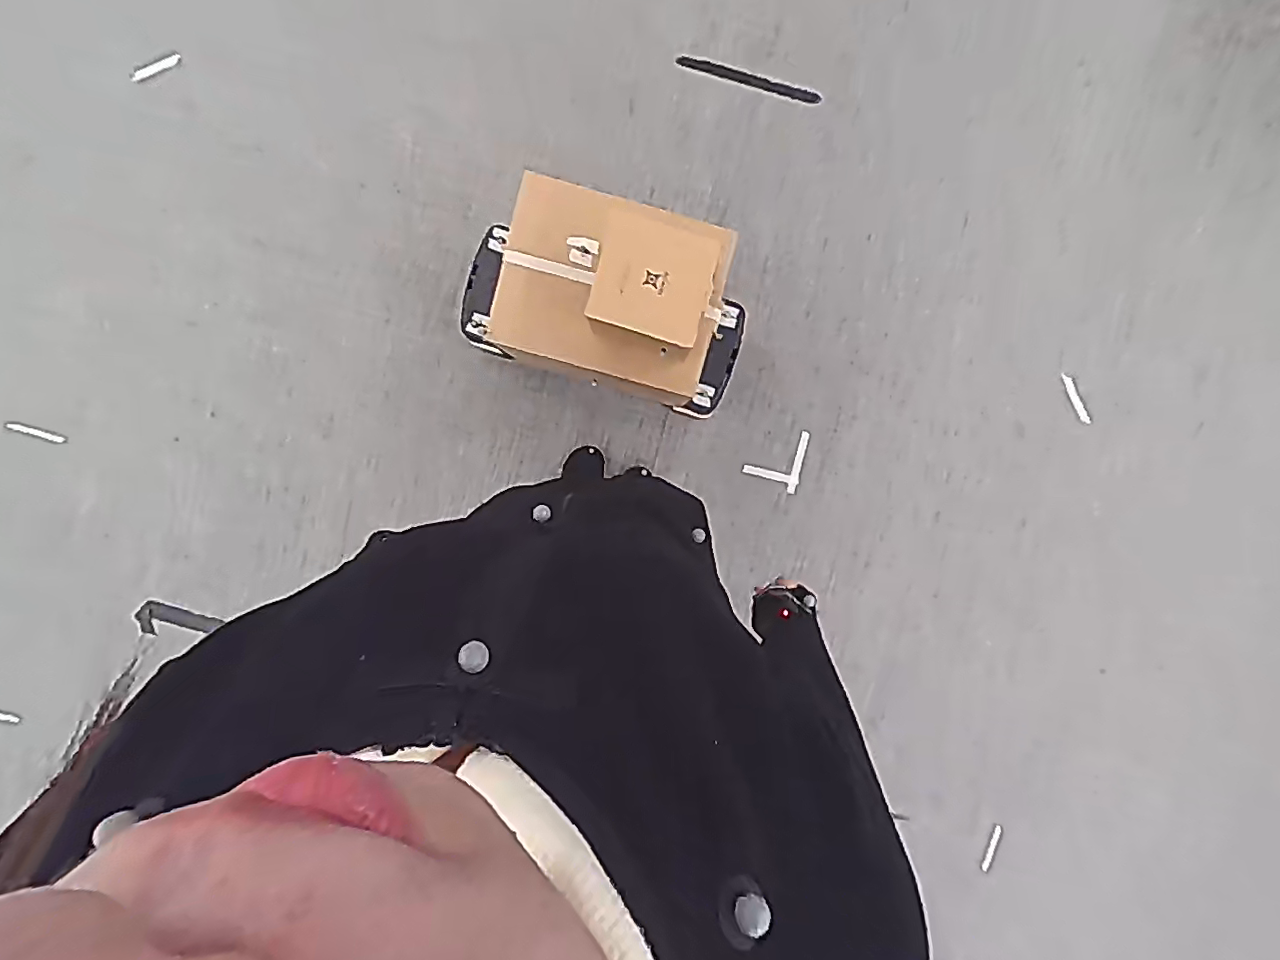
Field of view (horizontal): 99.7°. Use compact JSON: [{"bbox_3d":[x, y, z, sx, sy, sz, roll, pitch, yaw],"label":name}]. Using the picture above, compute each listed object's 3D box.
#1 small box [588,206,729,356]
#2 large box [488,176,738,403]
[{"bbox_3d":[0.027,-0.310,0.886,0.179,0.176,0.168,17,95,-1],"label":"small box"},{"bbox_3d":[-0.048,-0.362,1.128,0.408,0.320,0.320,15,93,-1],"label":"large box"}]
